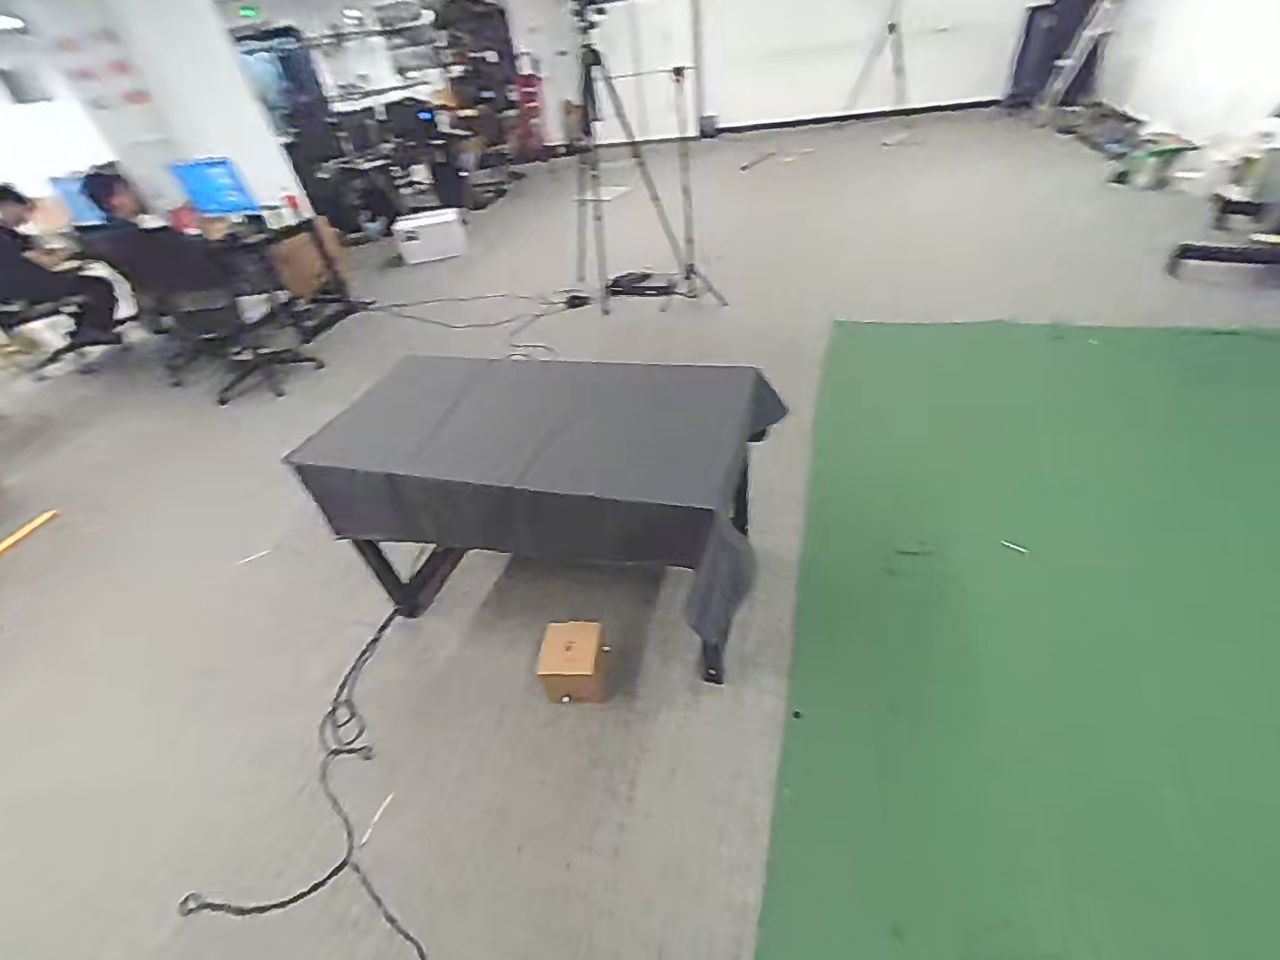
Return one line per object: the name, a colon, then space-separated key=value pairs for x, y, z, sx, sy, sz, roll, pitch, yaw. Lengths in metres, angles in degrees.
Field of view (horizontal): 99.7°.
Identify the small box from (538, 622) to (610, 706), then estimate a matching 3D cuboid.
small box: x=-0.189 y=0.549 z=1.620 sx=0.168 sy=0.176 sz=0.179 roll=-2 pitch=39 yaw=9
